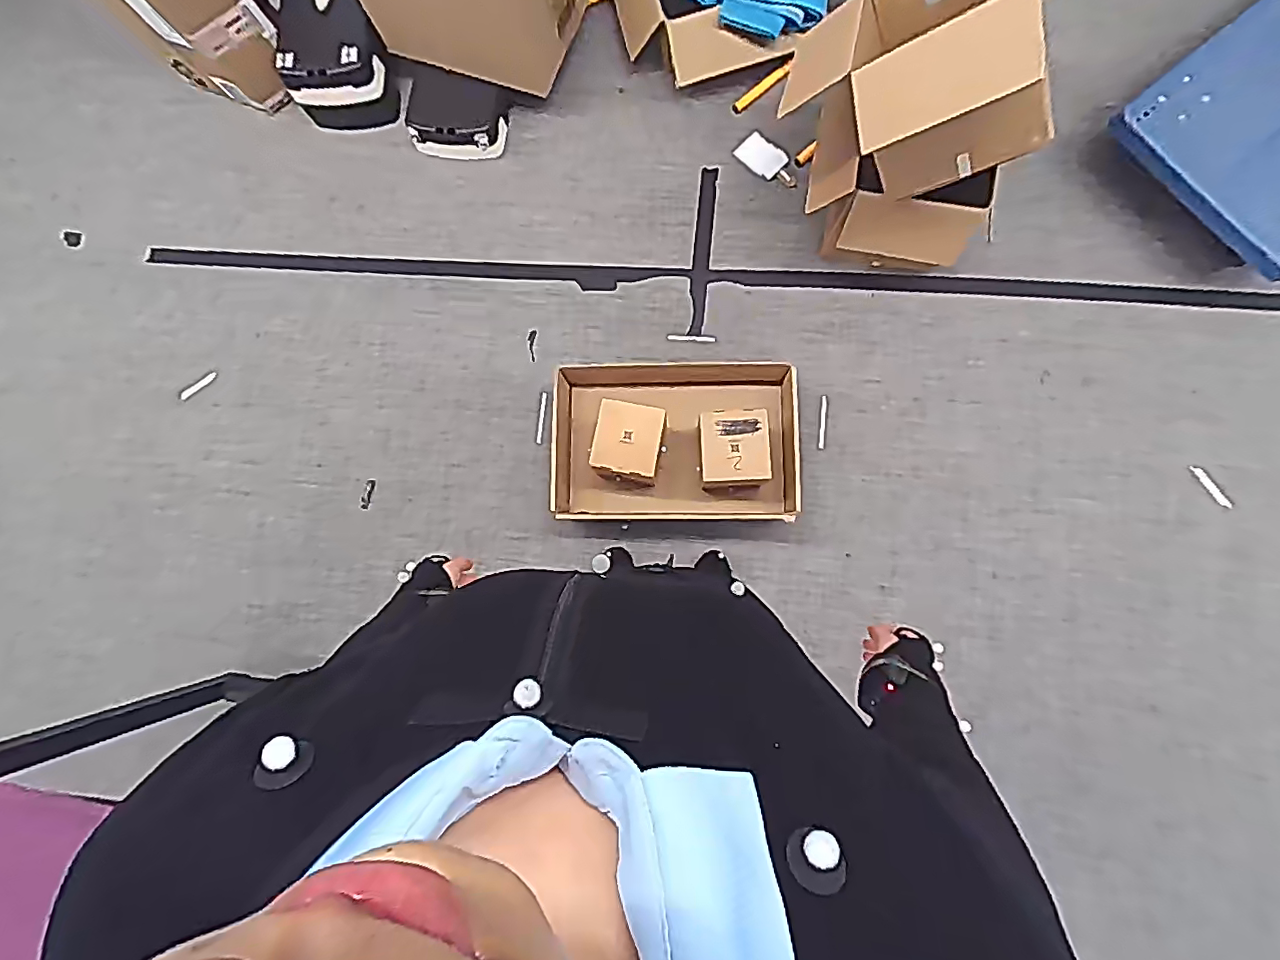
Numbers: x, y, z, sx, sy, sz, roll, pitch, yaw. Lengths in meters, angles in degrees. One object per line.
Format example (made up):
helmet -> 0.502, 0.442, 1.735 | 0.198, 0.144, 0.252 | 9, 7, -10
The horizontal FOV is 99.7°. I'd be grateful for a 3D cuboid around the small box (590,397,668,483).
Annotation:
small box -> -0.025, -0.099, 1.413 | 0.168, 0.176, 0.179 | 10, 84, 4
